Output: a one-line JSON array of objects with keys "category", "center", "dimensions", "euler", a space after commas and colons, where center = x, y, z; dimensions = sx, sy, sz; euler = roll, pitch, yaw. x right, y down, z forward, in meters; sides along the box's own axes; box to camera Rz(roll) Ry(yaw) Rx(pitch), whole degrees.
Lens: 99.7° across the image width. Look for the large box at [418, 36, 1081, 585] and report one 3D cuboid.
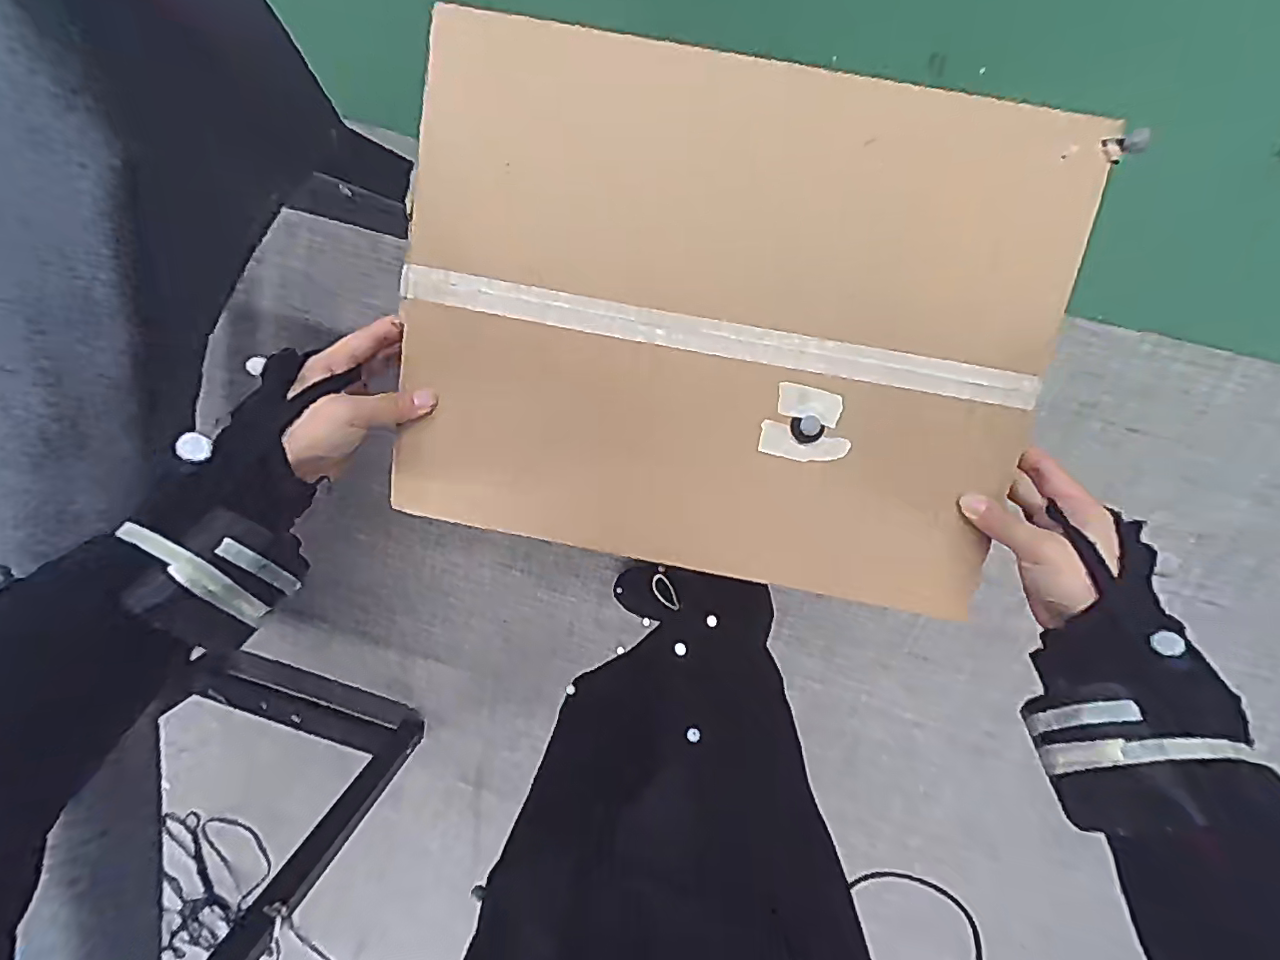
[{"category": "large box", "center": [0.061, -0.128, 0.509], "dimensions": [0.408, 0.320, 0.320], "euler": [10, 101, 1]}]
